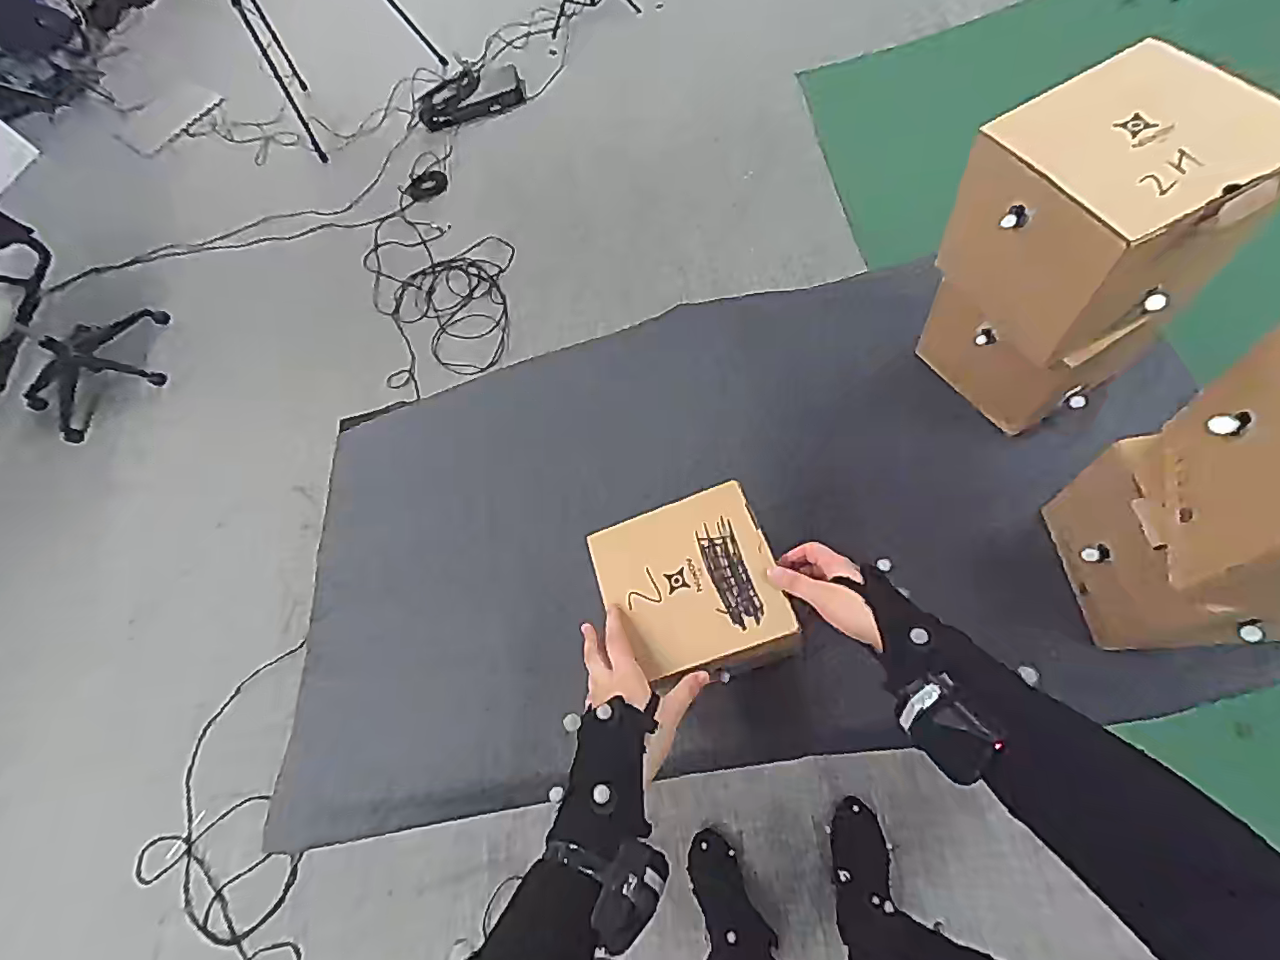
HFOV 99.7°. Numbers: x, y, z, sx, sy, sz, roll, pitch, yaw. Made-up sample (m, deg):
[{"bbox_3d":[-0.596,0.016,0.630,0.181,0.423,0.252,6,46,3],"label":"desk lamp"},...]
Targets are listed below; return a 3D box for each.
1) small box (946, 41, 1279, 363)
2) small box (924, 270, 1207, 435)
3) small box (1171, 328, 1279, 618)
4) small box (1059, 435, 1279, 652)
[{"bbox_3d":[0.425,-0.246,0.506,0.168,0.176,0.179,-27,64,4],"label":"small box"},{"bbox_3d":[0.480,-0.187,0.651,0.168,0.176,0.179,-33,64,1],"label":"small box"},{"bbox_3d":[0.513,0.006,0.368,0.179,0.176,0.168,13,67,19],"label":"small box"},{"bbox_3d":[0.545,0.064,0.518,0.179,0.176,0.168,-7,62,11],"label":"small box"}]
